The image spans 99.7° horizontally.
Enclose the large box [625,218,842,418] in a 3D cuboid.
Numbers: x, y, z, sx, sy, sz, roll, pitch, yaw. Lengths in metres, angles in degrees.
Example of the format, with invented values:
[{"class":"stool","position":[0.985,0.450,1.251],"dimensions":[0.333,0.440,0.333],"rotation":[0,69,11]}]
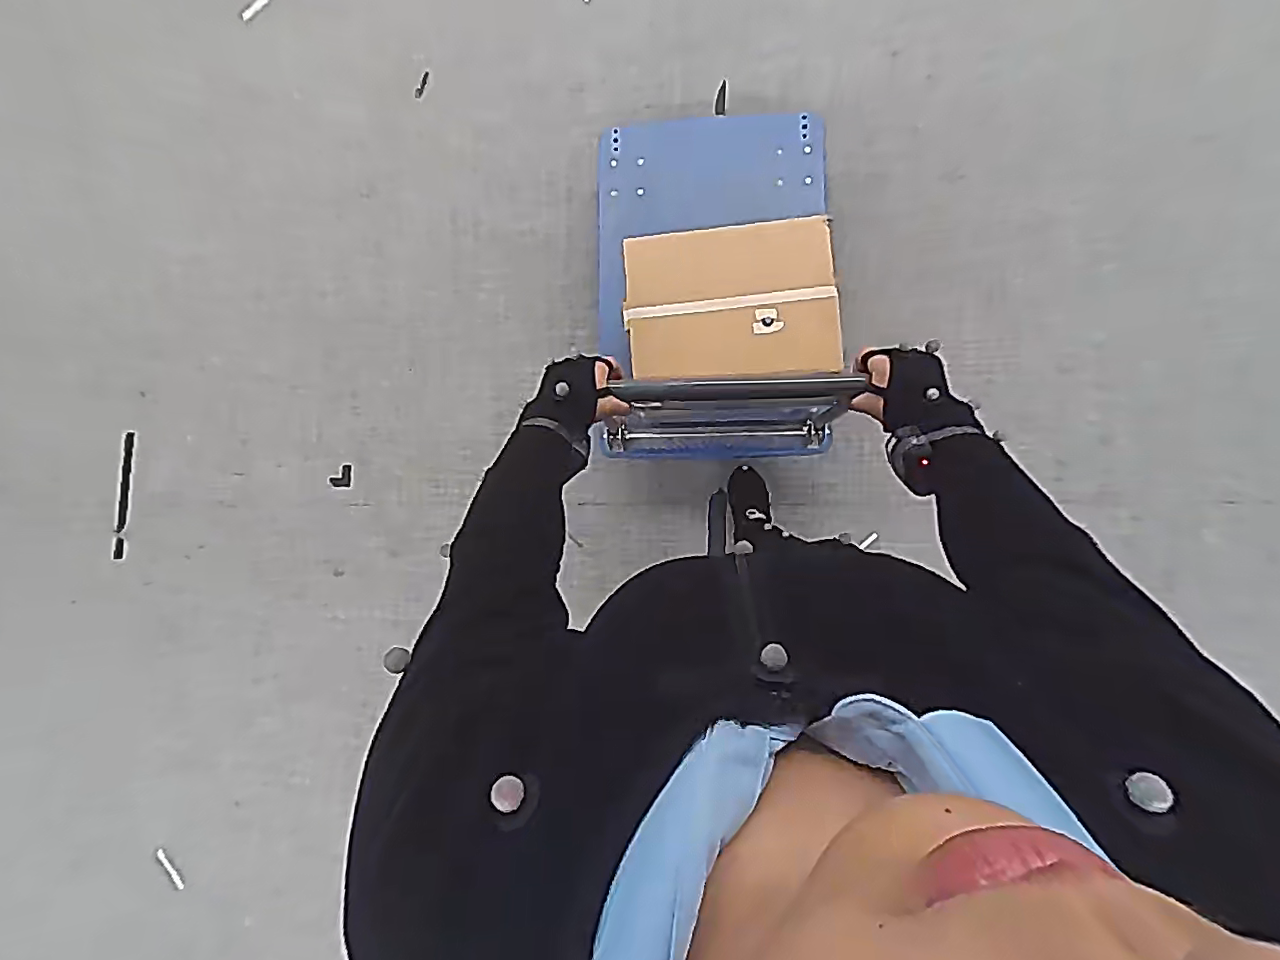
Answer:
[{"class":"large box","position":[0.189,-0.335,1.211],"dimensions":[0.408,0.320,0.320],"rotation":[-5,87,4]}]
